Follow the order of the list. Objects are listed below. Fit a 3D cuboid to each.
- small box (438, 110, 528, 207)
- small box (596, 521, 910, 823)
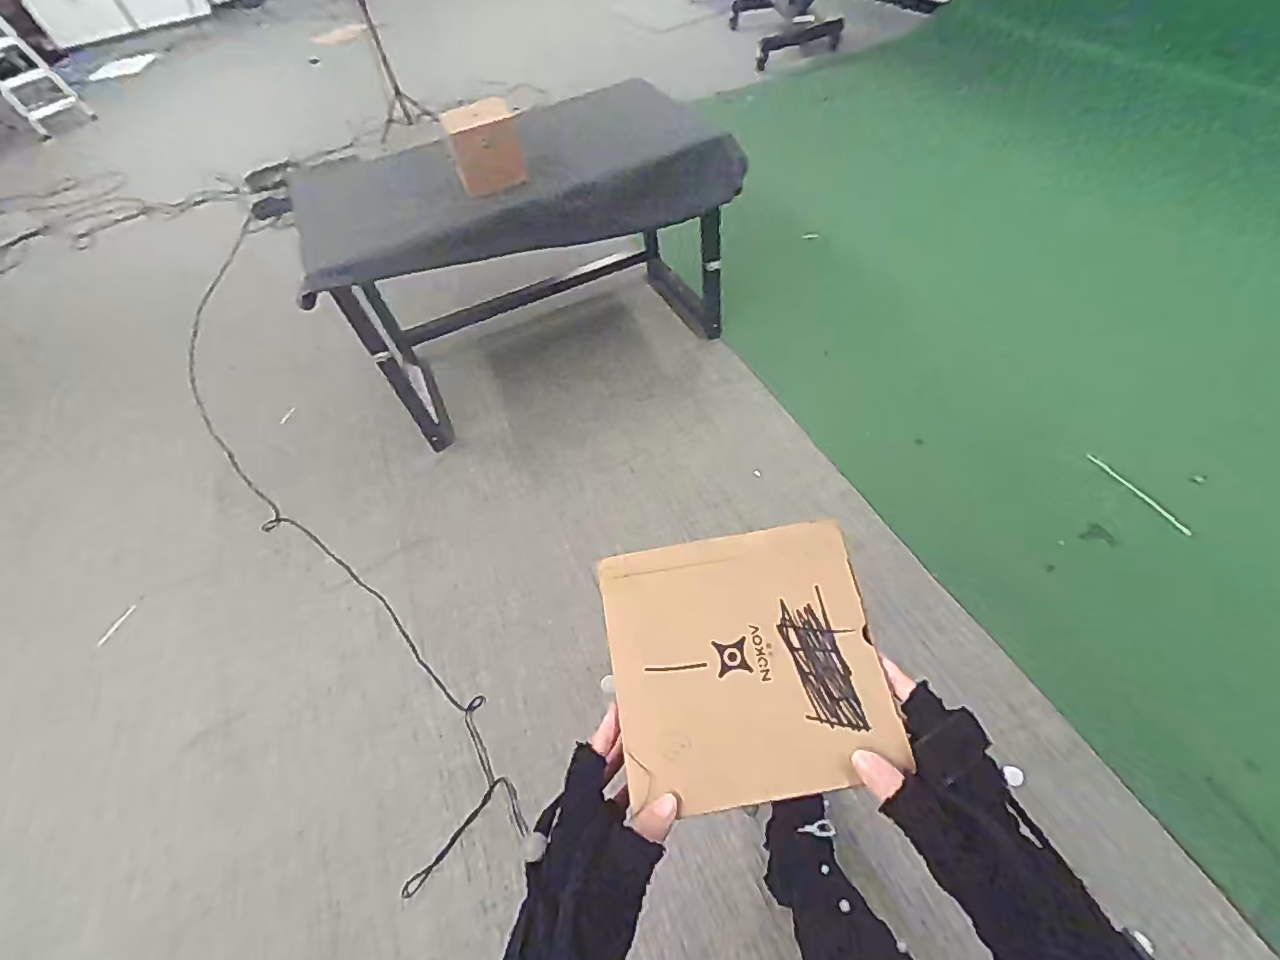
[{"bbox_3d":[-0.432,-0.886,1.498,0.179,0.176,0.168,-23,54,-9],"label":"small box"},{"bbox_3d":[0.070,0.148,0.428,0.179,0.176,0.168,-11,66,-1],"label":"small box"}]
